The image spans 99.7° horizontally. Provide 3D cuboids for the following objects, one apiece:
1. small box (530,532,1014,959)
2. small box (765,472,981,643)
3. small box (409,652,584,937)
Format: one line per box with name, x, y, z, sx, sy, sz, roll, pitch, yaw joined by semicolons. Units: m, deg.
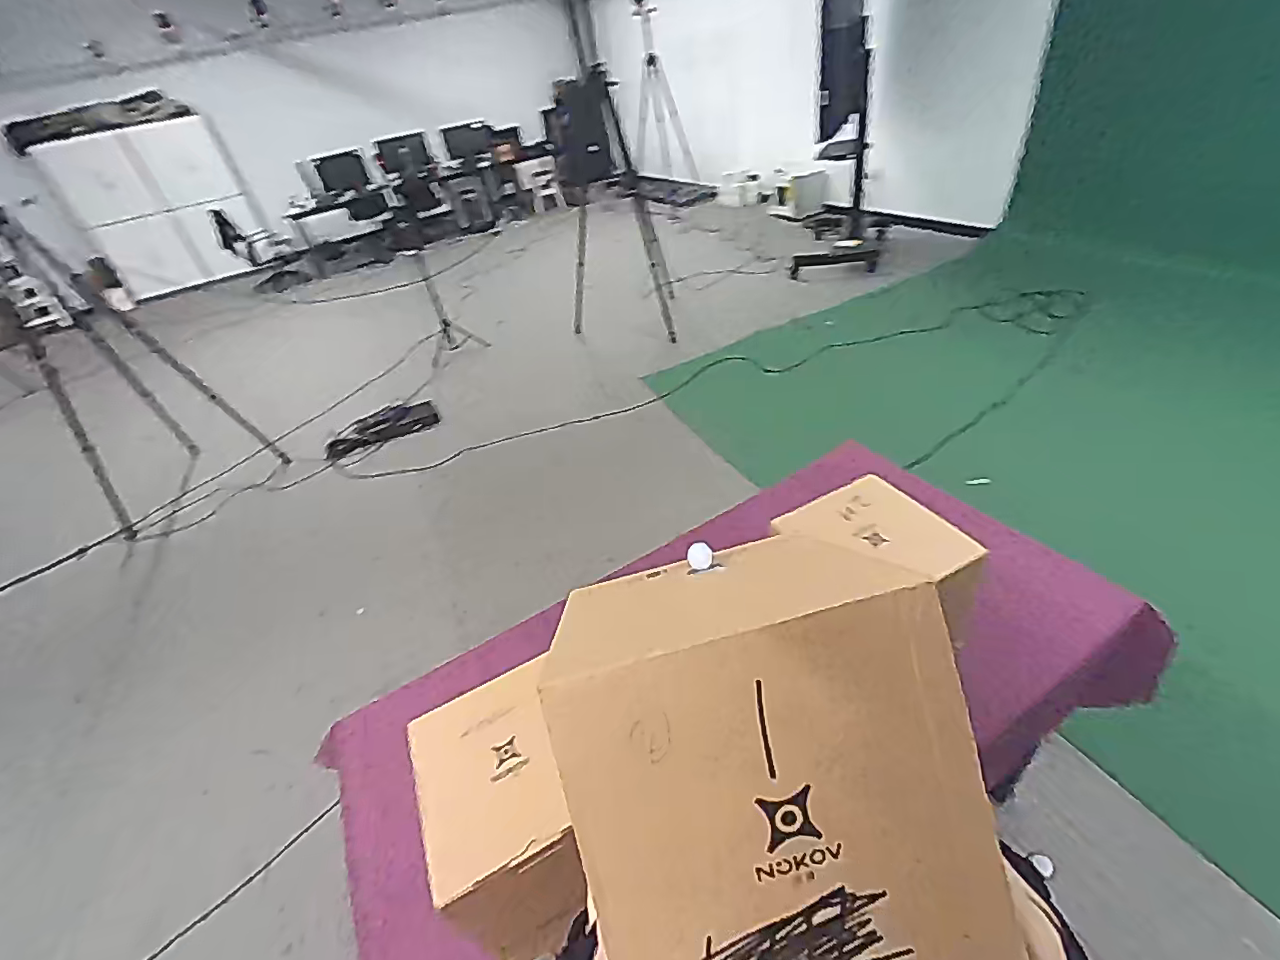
small box;0.054;0.139;0.297;0.168;0.179;0.176;-15;1;-1
small box;0.277;0.125;0.678;0.168;0.176;0.179;-23;38;-14
small box;-0.110;0.315;0.547;0.168;0.176;0.179;-24;38;-15
